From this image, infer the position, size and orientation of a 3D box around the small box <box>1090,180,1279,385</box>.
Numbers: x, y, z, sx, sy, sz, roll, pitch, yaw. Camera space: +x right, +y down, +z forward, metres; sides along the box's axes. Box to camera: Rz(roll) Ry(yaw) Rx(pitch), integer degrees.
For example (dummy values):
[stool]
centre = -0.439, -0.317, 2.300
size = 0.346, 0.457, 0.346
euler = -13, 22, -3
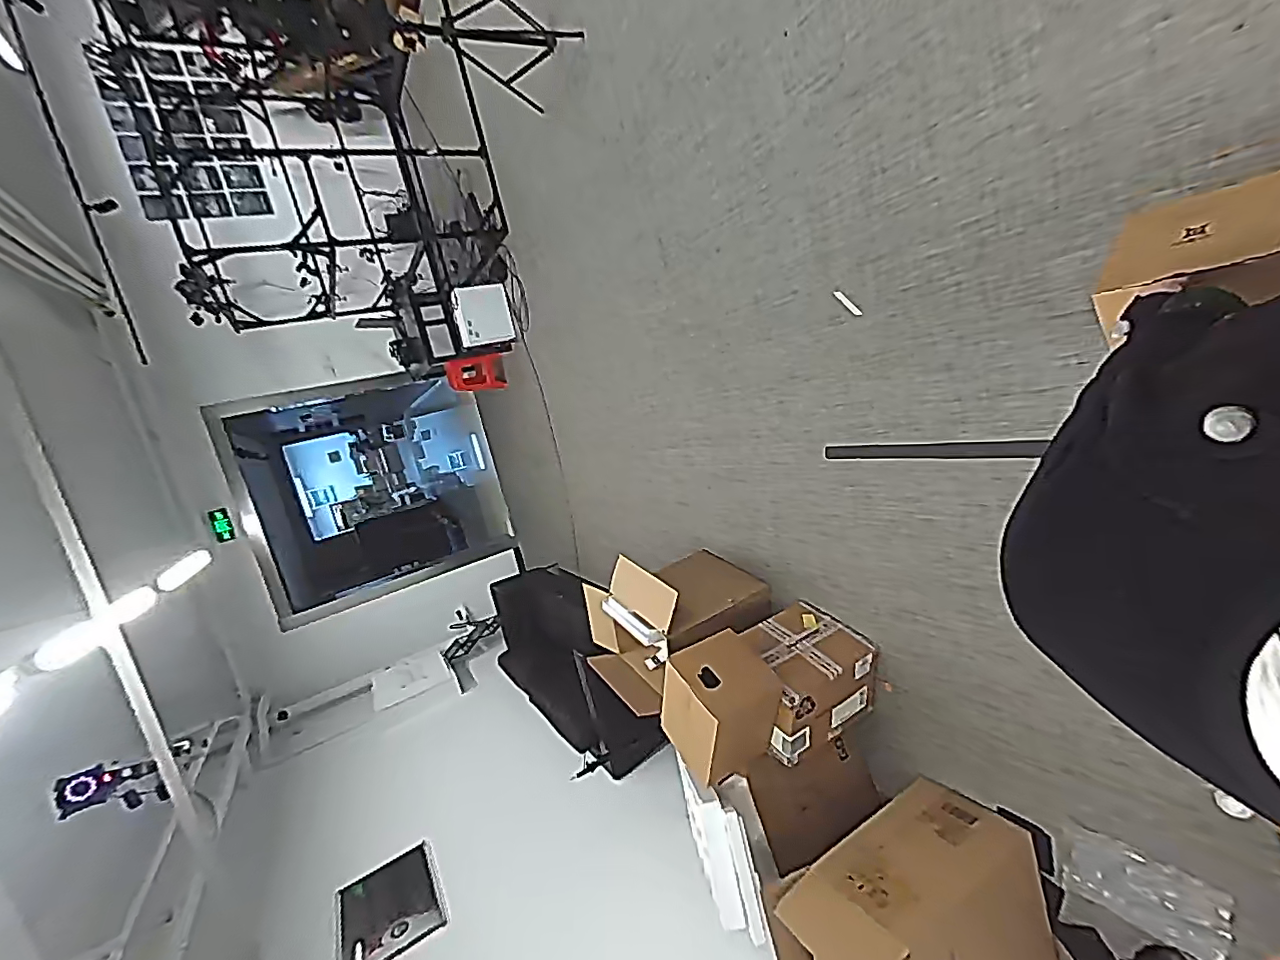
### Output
[small box]
centre = 0.721, -0.235, 0.687
size = 0.176, 0.179, 0.168
euler = 48, 158, -23
